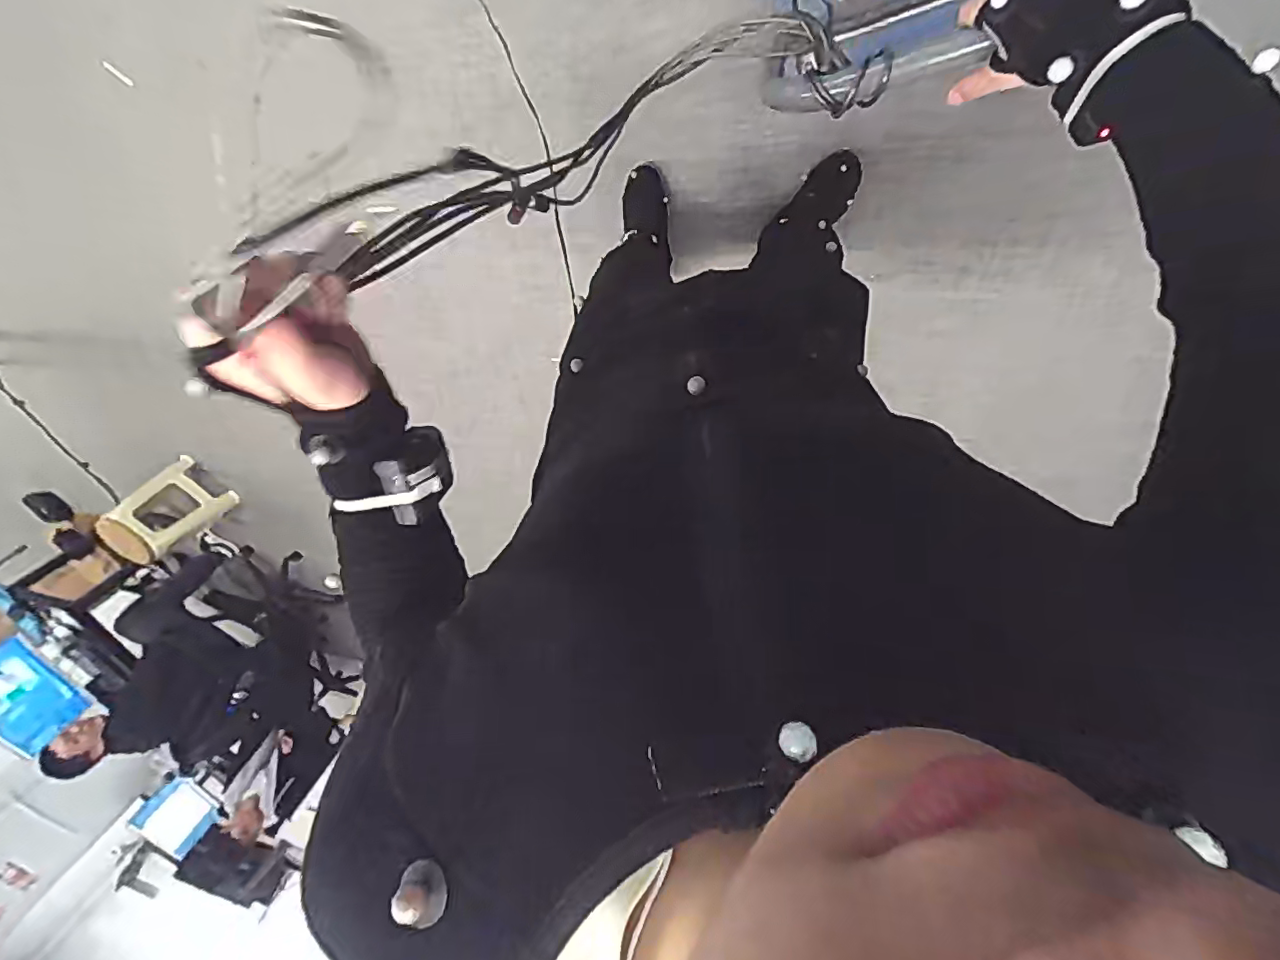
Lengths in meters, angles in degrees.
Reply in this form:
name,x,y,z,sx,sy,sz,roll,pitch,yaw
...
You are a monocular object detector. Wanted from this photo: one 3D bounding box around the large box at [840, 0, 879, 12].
name,x,y,z,sx,sy,sz,roll,pitch,yaw
large box,0.407,-0.936,0.713,0.320,0.320,0.408,-2,123,23
